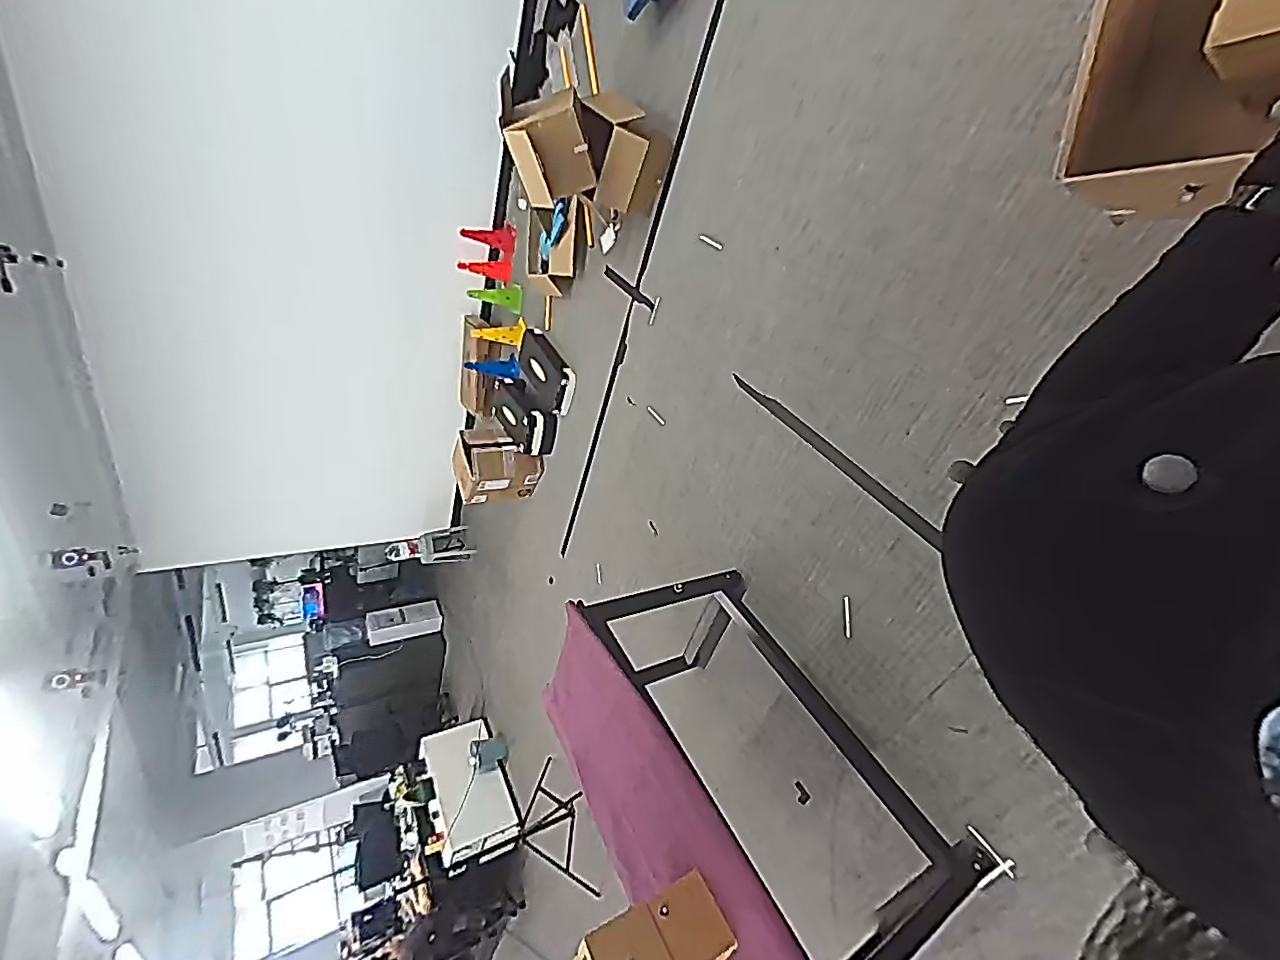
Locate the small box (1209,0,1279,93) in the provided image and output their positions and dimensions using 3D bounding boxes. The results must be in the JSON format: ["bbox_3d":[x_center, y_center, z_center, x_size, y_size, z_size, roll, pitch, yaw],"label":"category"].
[{"bbox_3d":[0.636,-0.454,0.443,0.179,0.176,0.168,27,117,52],"label":"small box"}]

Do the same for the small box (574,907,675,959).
[{"bbox_3d":[-0.028,1.110,1.215,0.179,0.176,0.168,47,132,42],"label":"small box"}]

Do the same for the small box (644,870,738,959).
[{"bbox_3d":[0.108,1.103,1.307,0.179,0.176,0.168,48,132,43],"label":"small box"}]
